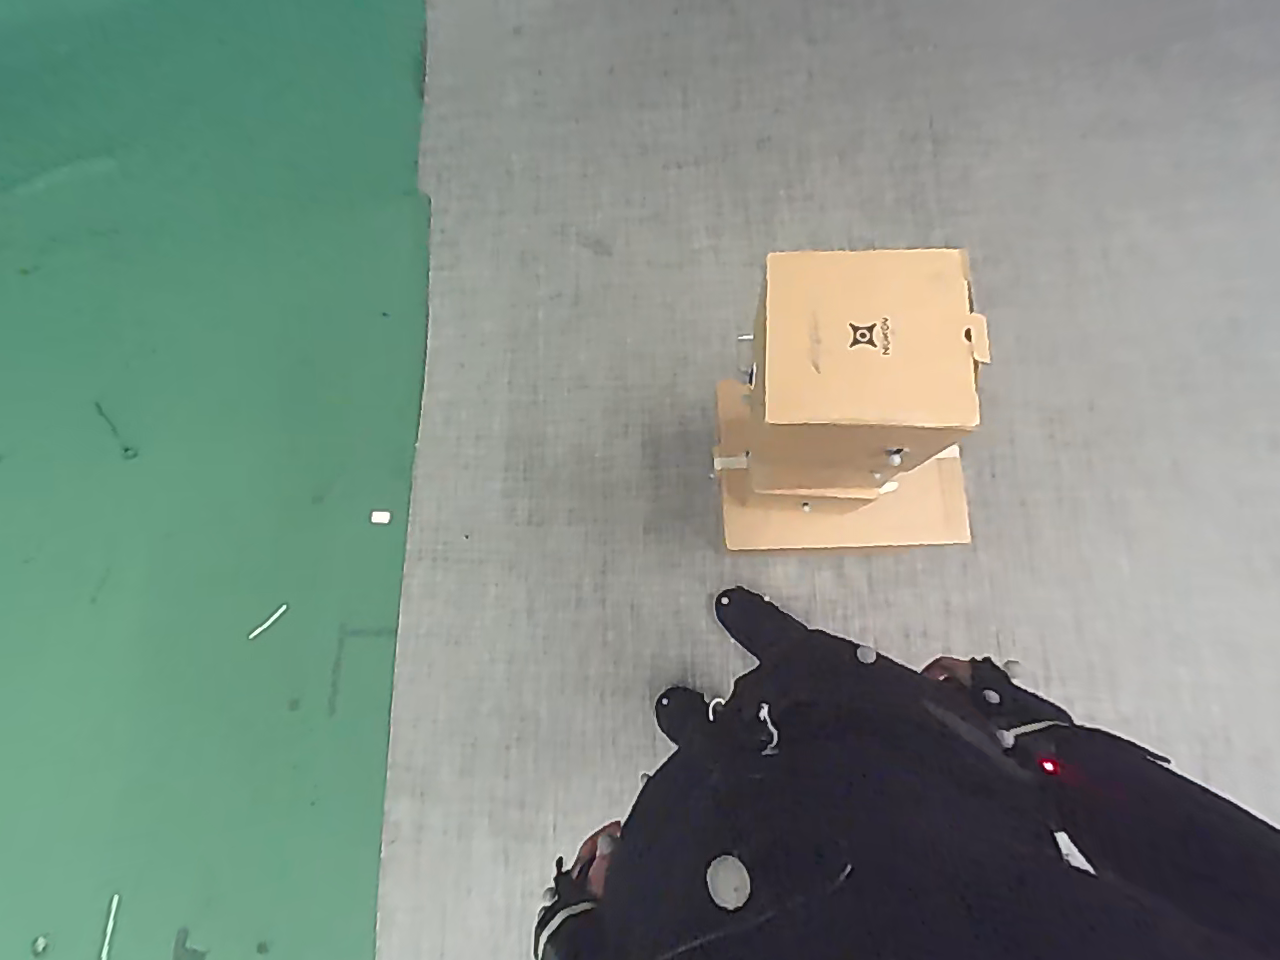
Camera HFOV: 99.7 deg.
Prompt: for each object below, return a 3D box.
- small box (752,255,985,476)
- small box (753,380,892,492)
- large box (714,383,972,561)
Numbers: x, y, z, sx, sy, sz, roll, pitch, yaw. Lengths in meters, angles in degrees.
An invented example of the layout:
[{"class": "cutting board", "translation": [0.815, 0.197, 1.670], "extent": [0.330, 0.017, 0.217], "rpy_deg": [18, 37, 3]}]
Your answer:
[{"class": "small box", "translation": [0.210, -0.103, 0.544], "extent": [0.179, 0.176, 0.168], "rpy_deg": [2, 77, 8]}, {"class": "small box", "translation": [0.239, -0.079, 0.703], "extent": [0.179, 0.176, 0.168], "rpy_deg": [-1, 78, 7]}, {"class": "large box", "translation": [0.365, -0.007, 1.090], "extent": [0.408, 0.320, 0.320], "rpy_deg": [-2, 80, 6]}]
